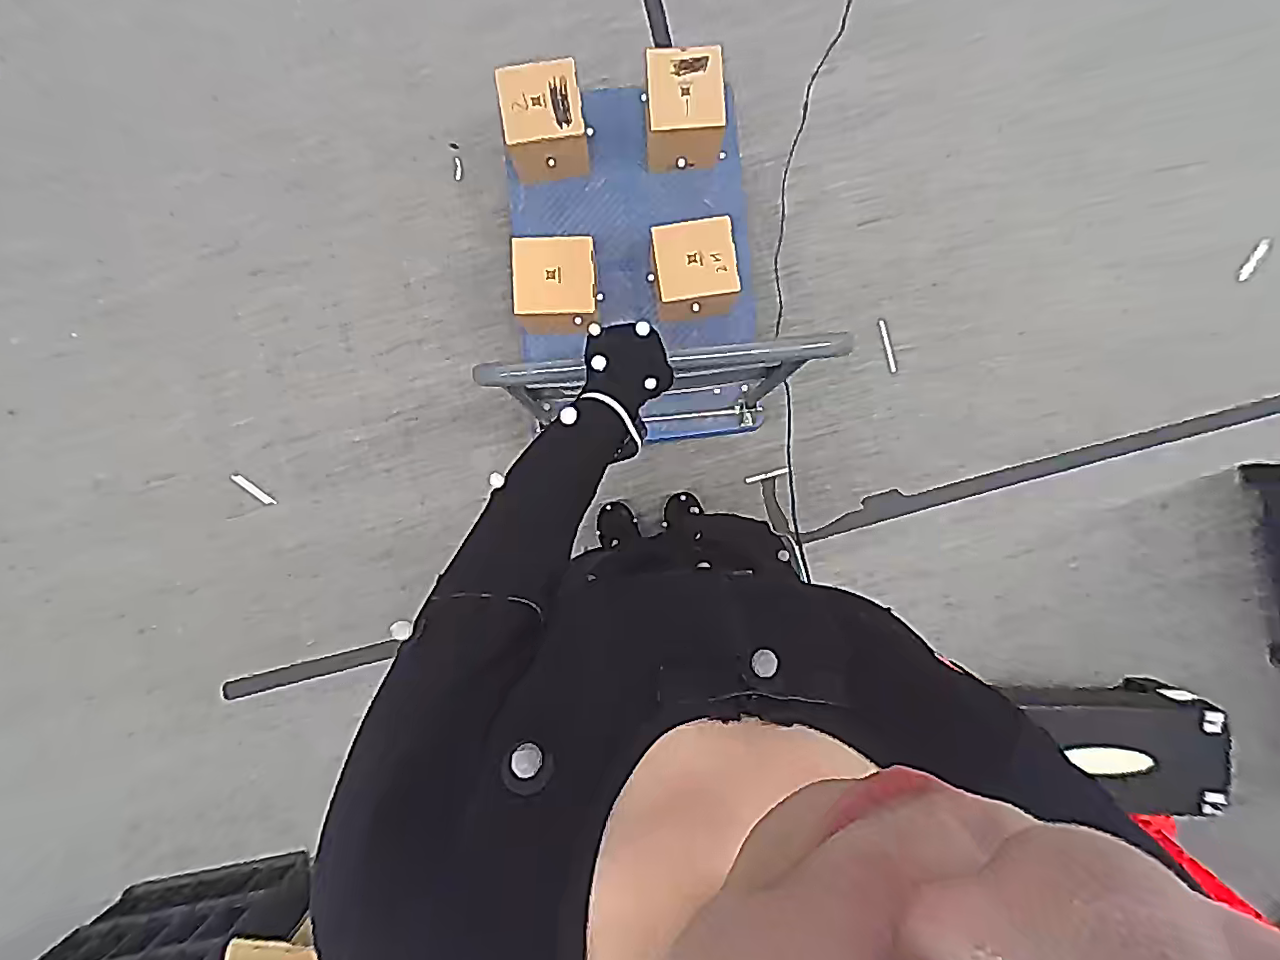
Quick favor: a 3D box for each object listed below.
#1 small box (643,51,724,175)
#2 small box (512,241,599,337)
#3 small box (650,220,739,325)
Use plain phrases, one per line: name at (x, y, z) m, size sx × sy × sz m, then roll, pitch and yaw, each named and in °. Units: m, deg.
small box at (0.094, -0.839, 1.249) m, size 0.168 × 0.176 × 0.179 m, roll -4°, pitch 91°, yaw -1°
small box at (-0.188, -0.432, 1.246) m, size 0.179 × 0.176 × 0.168 m, roll -3°, pitch 90°, yaw -2°
small box at (0.119, -0.471, 1.249) m, size 0.179 × 0.176 × 0.168 m, roll -9°, pitch 90°, yaw -1°
